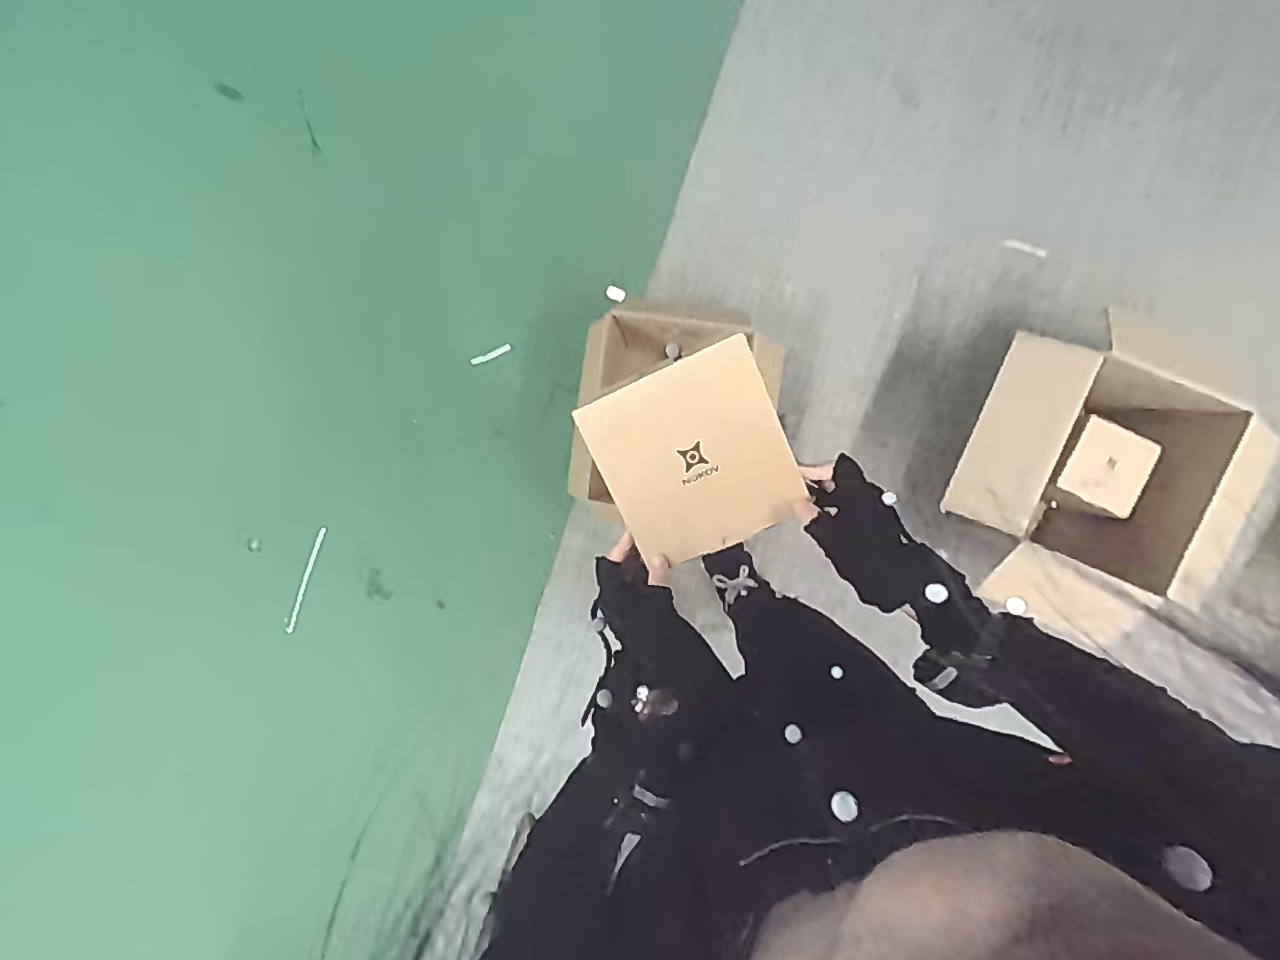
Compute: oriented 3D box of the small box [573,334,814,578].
[{"bbox_3d":[0.052,-0.034,0.555,0.168,0.176,0.179,-24,103,10],"label":"small box"}]
